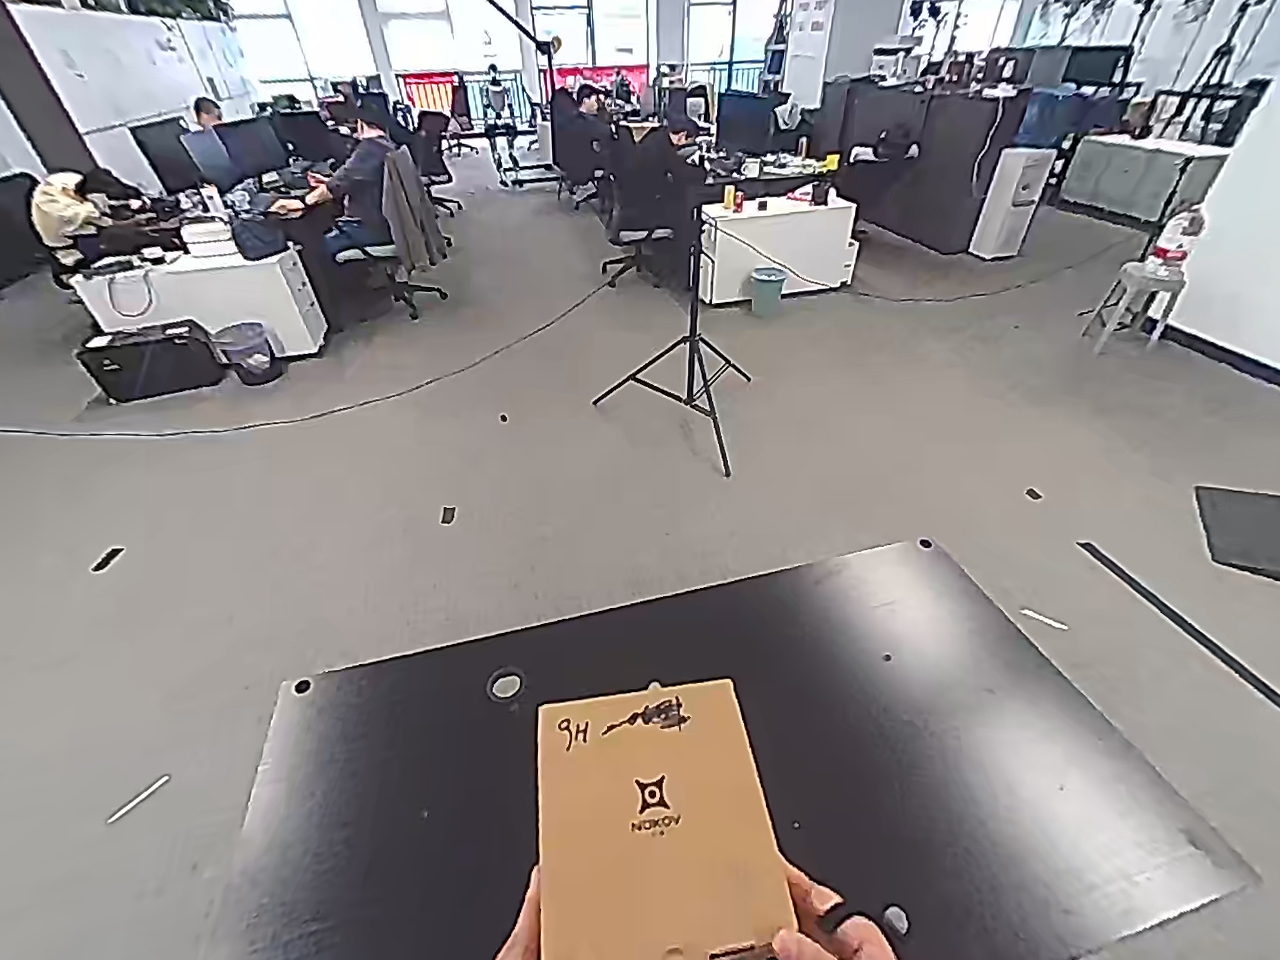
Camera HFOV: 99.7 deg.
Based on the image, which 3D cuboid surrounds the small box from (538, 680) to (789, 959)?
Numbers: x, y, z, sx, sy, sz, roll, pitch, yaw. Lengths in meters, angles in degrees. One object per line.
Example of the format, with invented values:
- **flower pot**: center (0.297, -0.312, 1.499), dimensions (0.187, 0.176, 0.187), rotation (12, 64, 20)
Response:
- **small box**: center (0.008, 0.296, 0.456), dimensions (0.168, 0.176, 0.179), rotation (-6, 46, -5)
